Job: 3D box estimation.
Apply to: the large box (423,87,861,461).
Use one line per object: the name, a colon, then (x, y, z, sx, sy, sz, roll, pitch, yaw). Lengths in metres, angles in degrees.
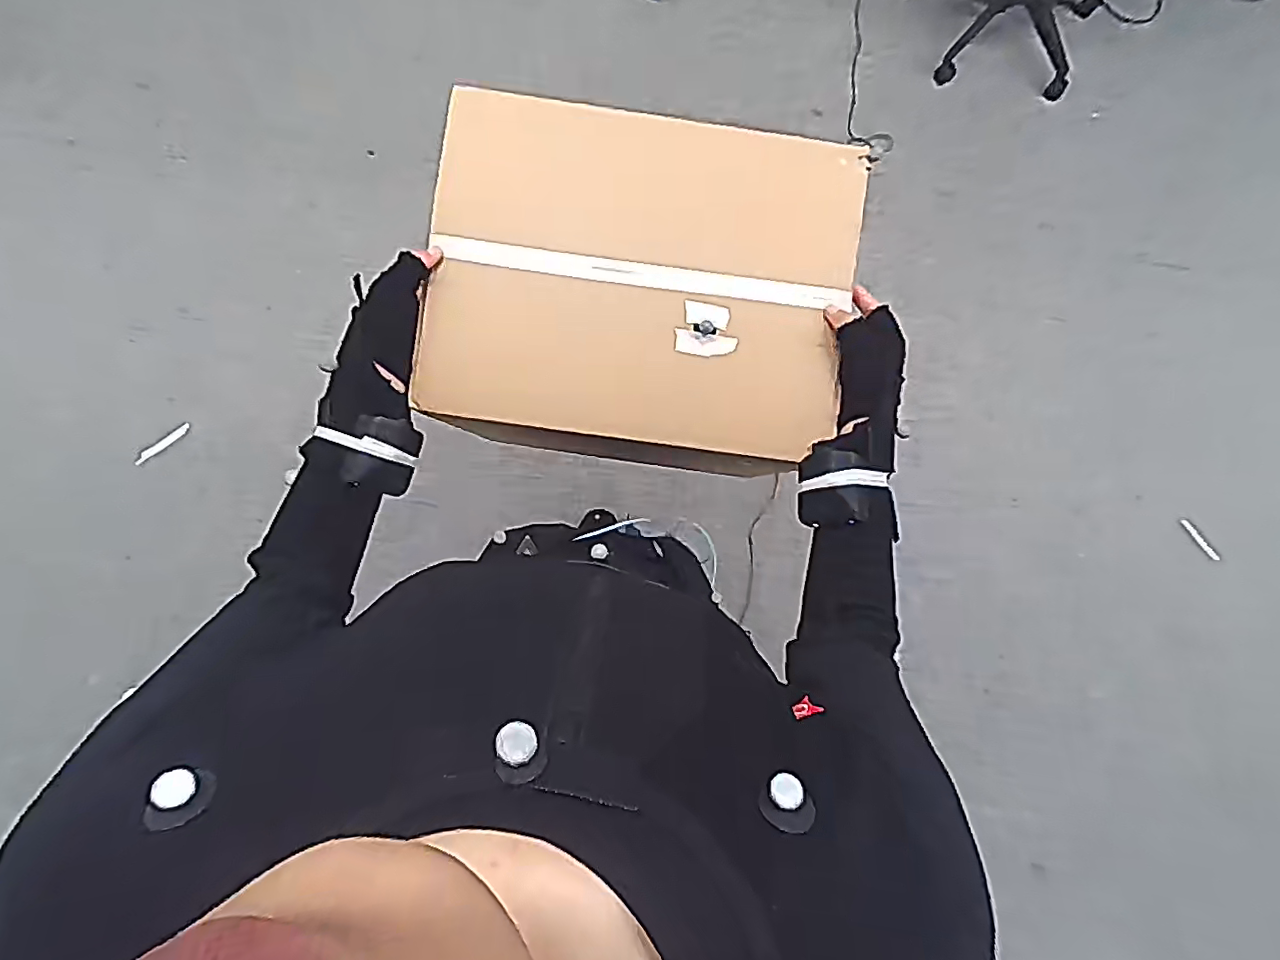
large box: (-0.002, -0.205, 0.676, 0.408, 0.320, 0.320, 8, 90, -2)
